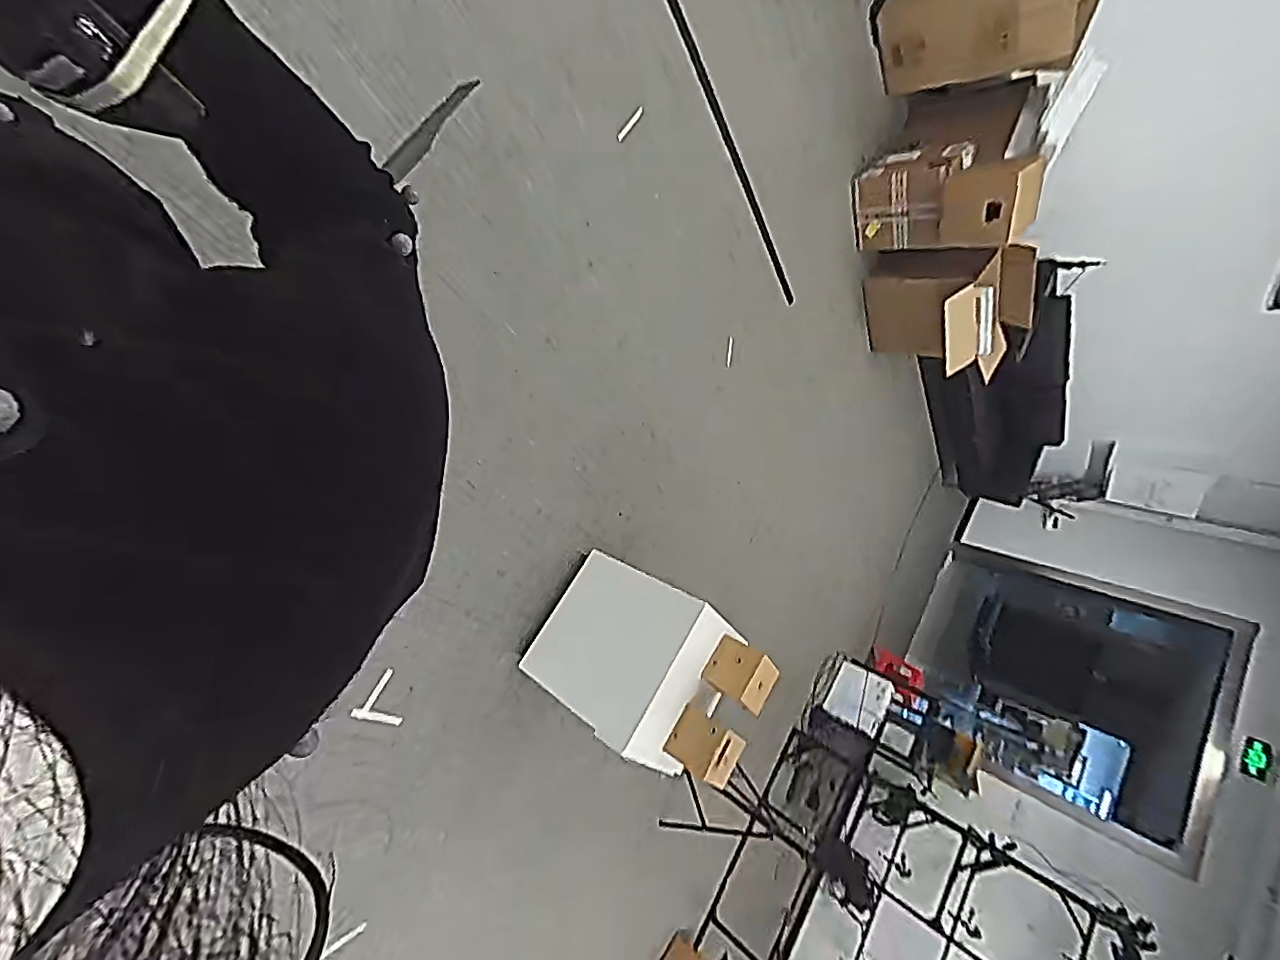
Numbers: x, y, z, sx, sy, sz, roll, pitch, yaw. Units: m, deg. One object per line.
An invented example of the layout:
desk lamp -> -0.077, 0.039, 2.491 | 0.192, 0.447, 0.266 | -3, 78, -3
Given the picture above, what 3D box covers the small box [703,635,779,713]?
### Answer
small box -> 0.338, 0.650, 1.828 | 0.168, 0.176, 0.179 | -55, 136, -18
